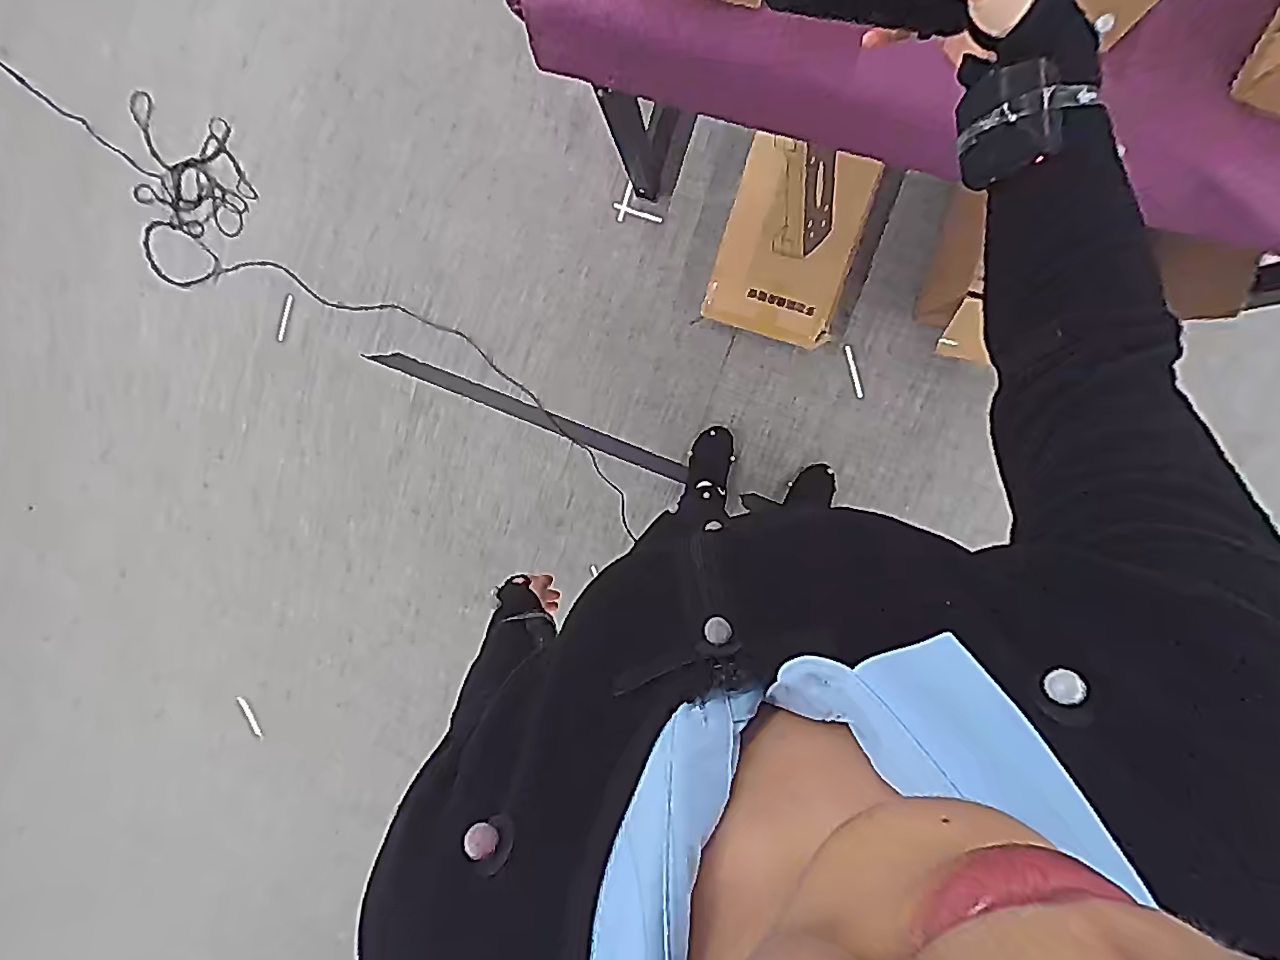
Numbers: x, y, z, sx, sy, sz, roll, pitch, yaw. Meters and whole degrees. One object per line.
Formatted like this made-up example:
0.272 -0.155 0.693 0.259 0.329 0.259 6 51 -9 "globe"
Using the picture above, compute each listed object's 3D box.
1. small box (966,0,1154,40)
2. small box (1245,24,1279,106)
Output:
0.469 -0.585 0.530 0.179 0.176 0.168 19 98 6 "small box"
0.761 -0.461 0.505 0.179 0.176 0.168 26 101 4 "small box"
